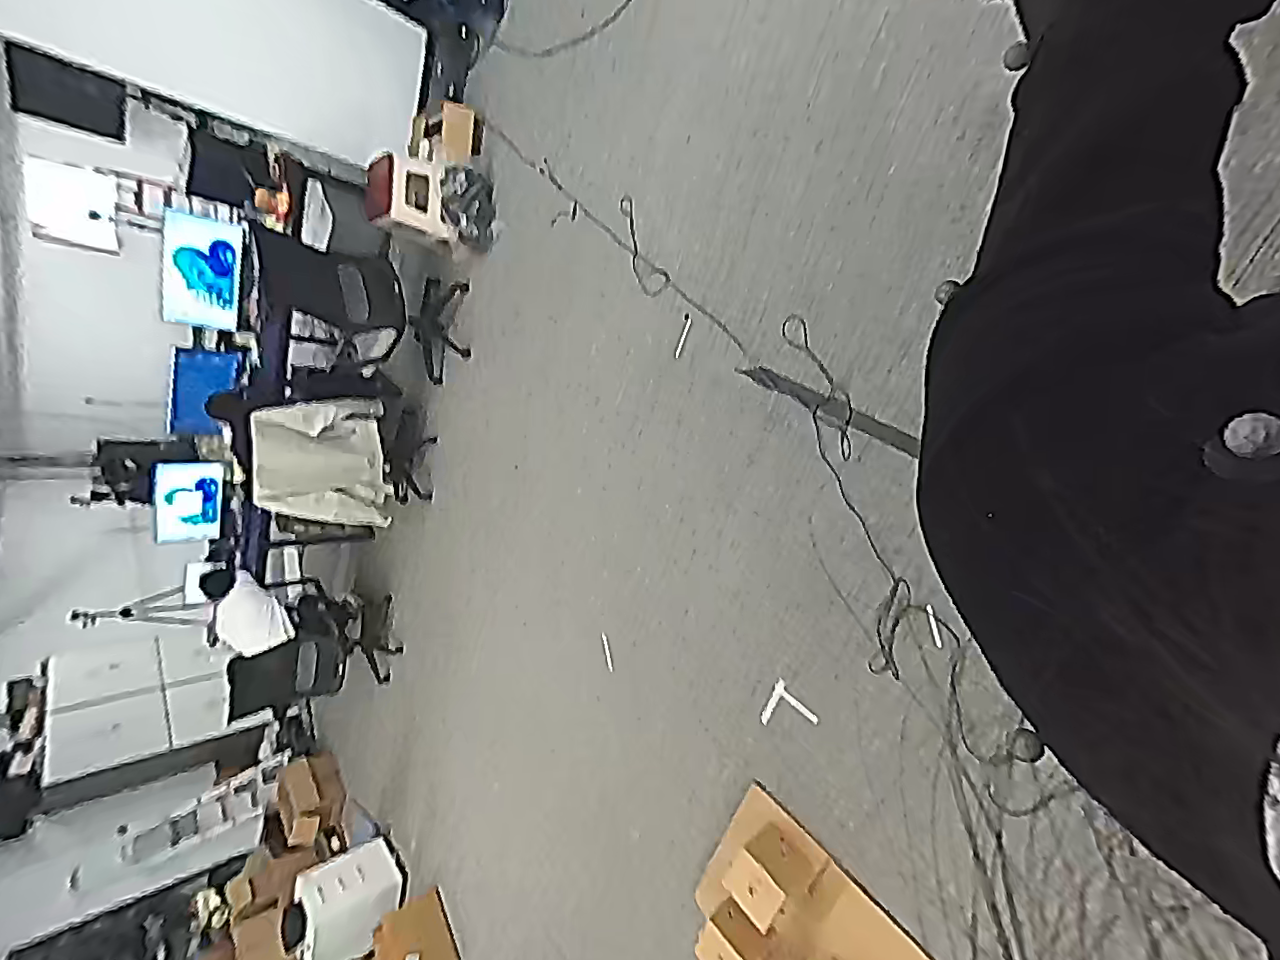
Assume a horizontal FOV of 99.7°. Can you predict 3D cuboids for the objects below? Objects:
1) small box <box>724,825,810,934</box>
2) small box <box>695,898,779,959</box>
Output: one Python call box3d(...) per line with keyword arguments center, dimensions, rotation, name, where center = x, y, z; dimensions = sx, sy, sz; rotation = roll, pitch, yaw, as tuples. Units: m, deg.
box3d(center=(0.394, 1.219, 1.661), dimensions=(0.168, 0.176, 0.179), rotation=(35, 114, 37), name="small box")
box3d(center=(0.314, 1.504, 1.749), dimensions=(0.179, 0.176, 0.168), rotation=(30, 112, 40), name="small box")
